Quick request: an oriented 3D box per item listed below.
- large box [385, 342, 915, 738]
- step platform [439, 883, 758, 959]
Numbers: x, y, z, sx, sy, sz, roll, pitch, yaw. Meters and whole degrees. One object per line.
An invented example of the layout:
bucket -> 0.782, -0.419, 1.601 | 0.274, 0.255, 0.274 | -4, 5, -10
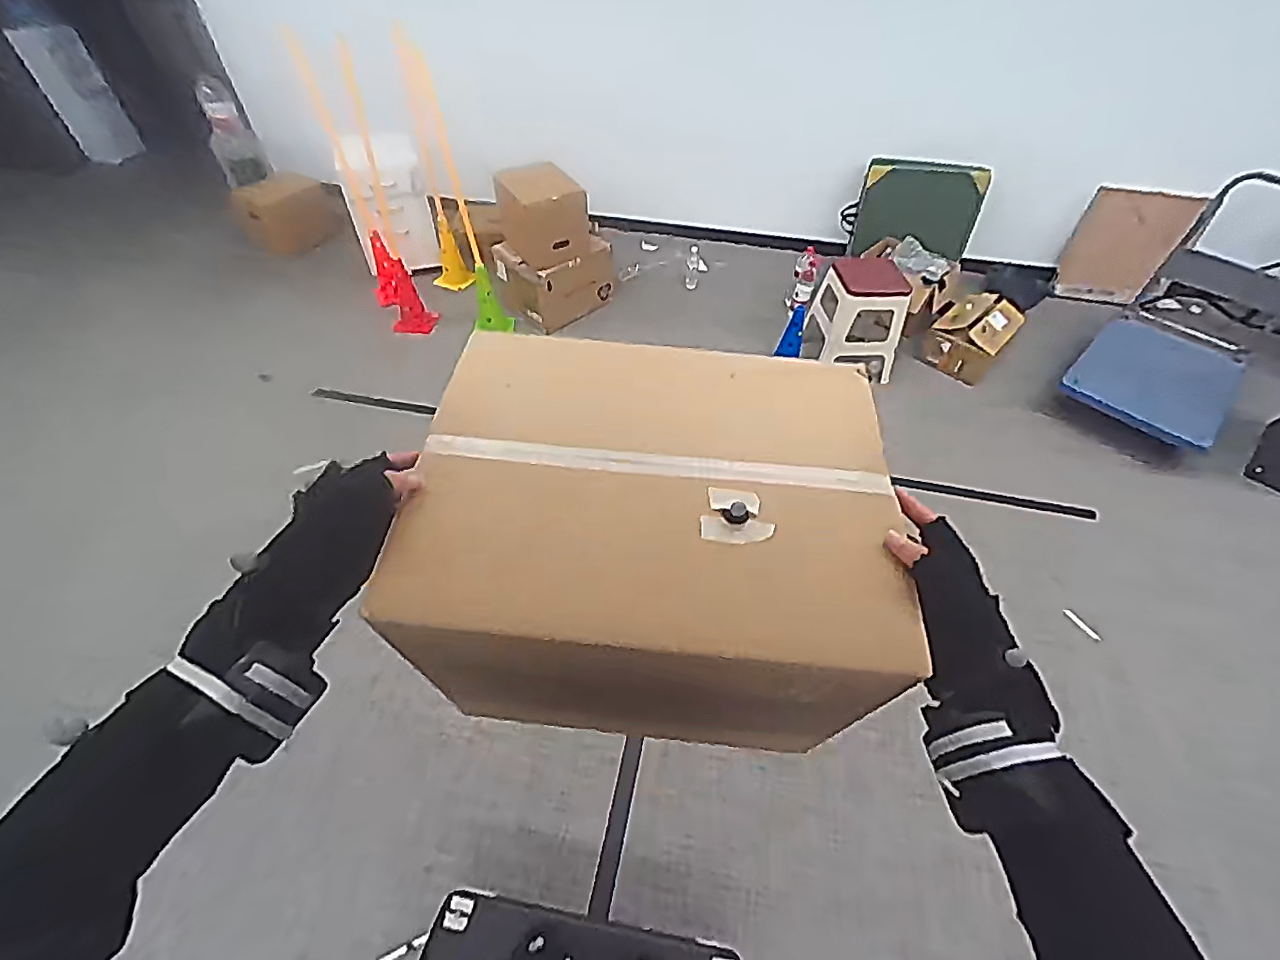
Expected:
large box -> 0.010, 0.079, 0.603 | 0.408, 0.320, 0.320 | 6, 55, 1
step platform -> -0.089, 1.086, 1.140 | 0.684, 0.204, 0.286 | 9, 50, 4
